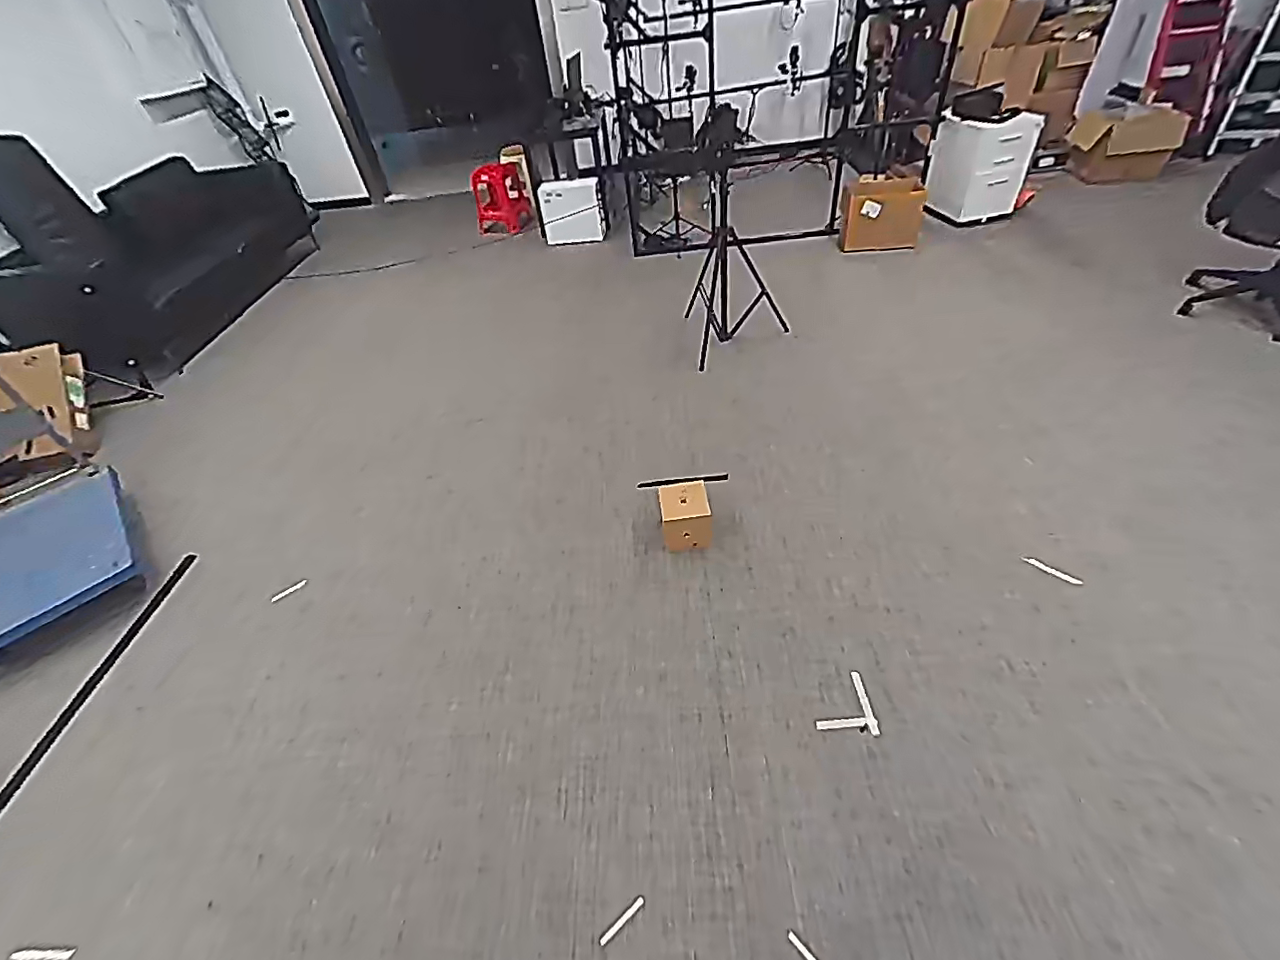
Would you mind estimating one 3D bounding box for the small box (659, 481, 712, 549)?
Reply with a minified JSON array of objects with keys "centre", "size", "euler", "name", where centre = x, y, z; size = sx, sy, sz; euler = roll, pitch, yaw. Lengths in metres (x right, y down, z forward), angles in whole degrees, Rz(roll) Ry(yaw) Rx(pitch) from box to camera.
[{"centre":[0.164,0.130,1.923],"size":[0.168,0.176,0.179],"euler":[-7,42,1],"name":"small box"}]
